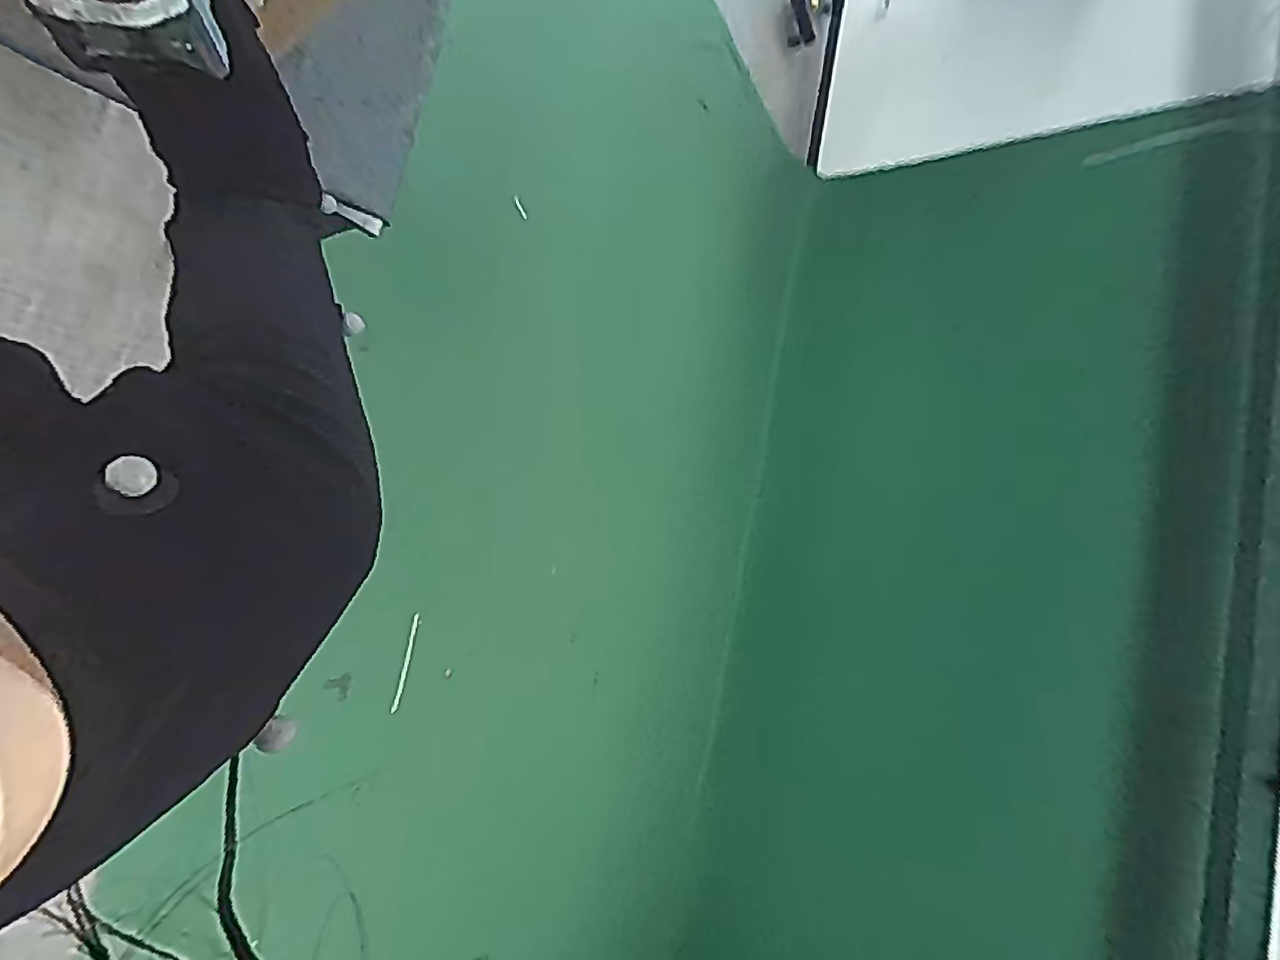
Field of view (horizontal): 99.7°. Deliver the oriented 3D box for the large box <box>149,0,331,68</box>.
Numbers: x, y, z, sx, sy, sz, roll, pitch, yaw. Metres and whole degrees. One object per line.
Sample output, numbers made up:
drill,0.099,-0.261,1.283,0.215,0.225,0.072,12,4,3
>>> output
large box,-0.413,-0.712,0.482,0.320,0.320,0.408,19,79,-54
